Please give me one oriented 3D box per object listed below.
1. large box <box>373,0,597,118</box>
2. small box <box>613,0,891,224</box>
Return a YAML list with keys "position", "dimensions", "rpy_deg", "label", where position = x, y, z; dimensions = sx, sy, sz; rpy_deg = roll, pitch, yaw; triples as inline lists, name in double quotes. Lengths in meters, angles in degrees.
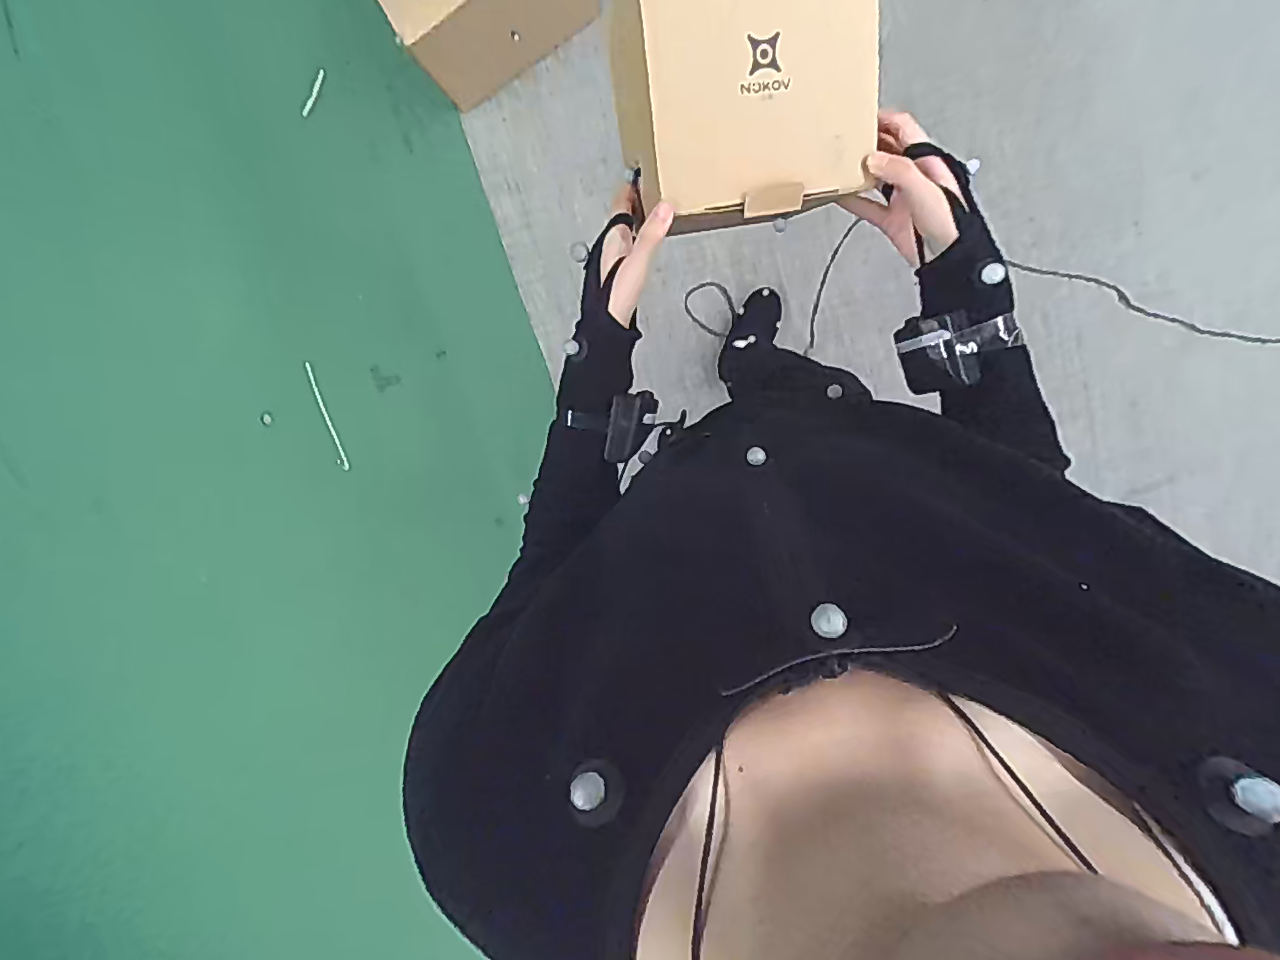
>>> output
- position: [-0.355, -1.092, 1.154]
  dimensions: [0.408, 0.320, 0.320]
  rpy_deg: [-30, 98, 10]
  label: "large box"
- position: [0.076, -0.311, 0.432]
  dimensions: [0.168, 0.176, 0.179]
  rpy_deg: [-10, 109, -6]
  label: "small box"
